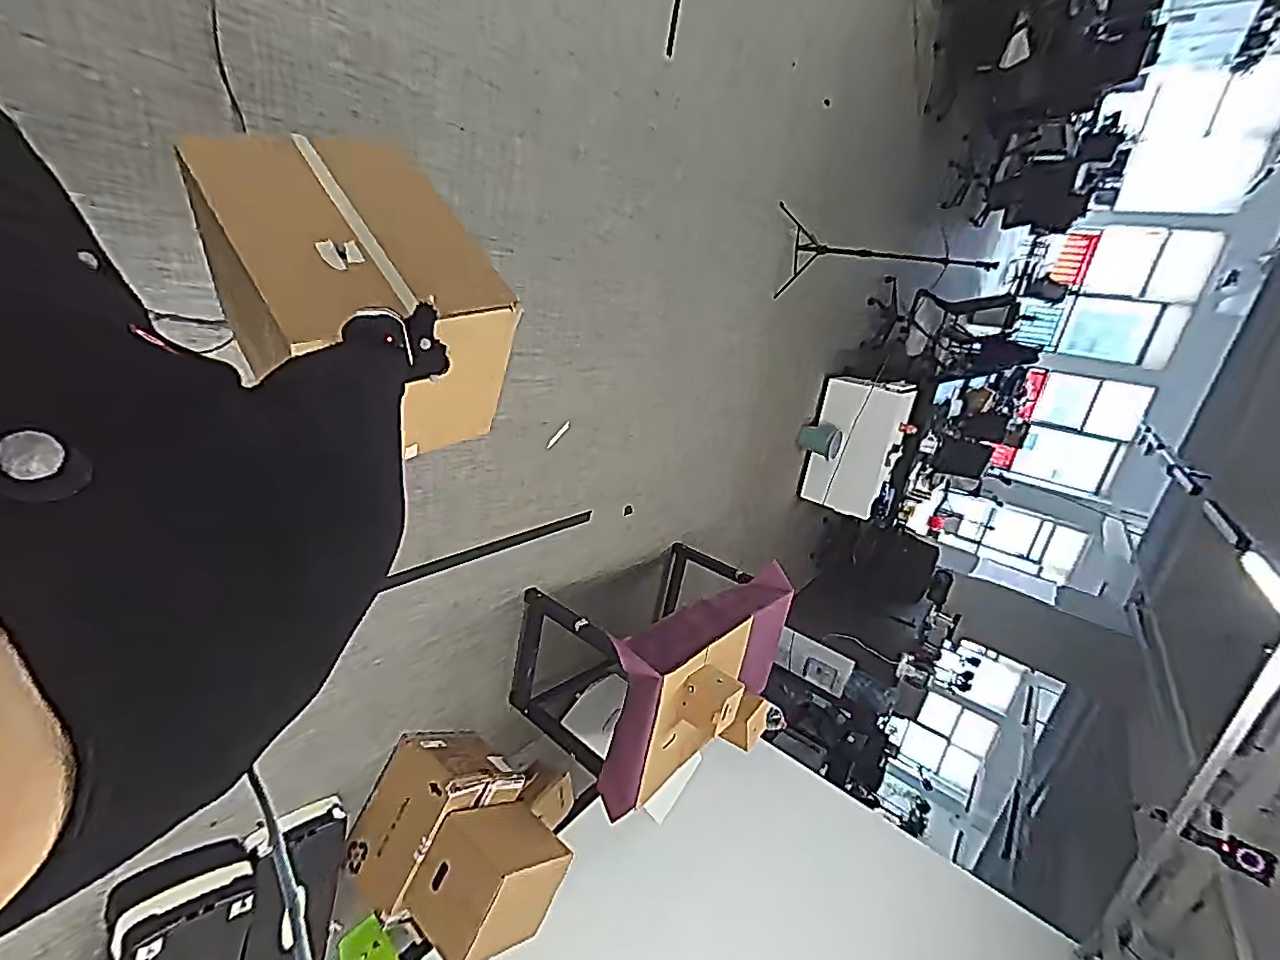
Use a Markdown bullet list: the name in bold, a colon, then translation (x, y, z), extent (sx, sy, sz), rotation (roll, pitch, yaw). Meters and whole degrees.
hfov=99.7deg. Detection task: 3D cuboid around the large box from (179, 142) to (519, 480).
- **large box**: translation (-0.466, -0.278, 0.893), extent (0.320, 0.408, 0.320), rotation (-26, 163, -37)
